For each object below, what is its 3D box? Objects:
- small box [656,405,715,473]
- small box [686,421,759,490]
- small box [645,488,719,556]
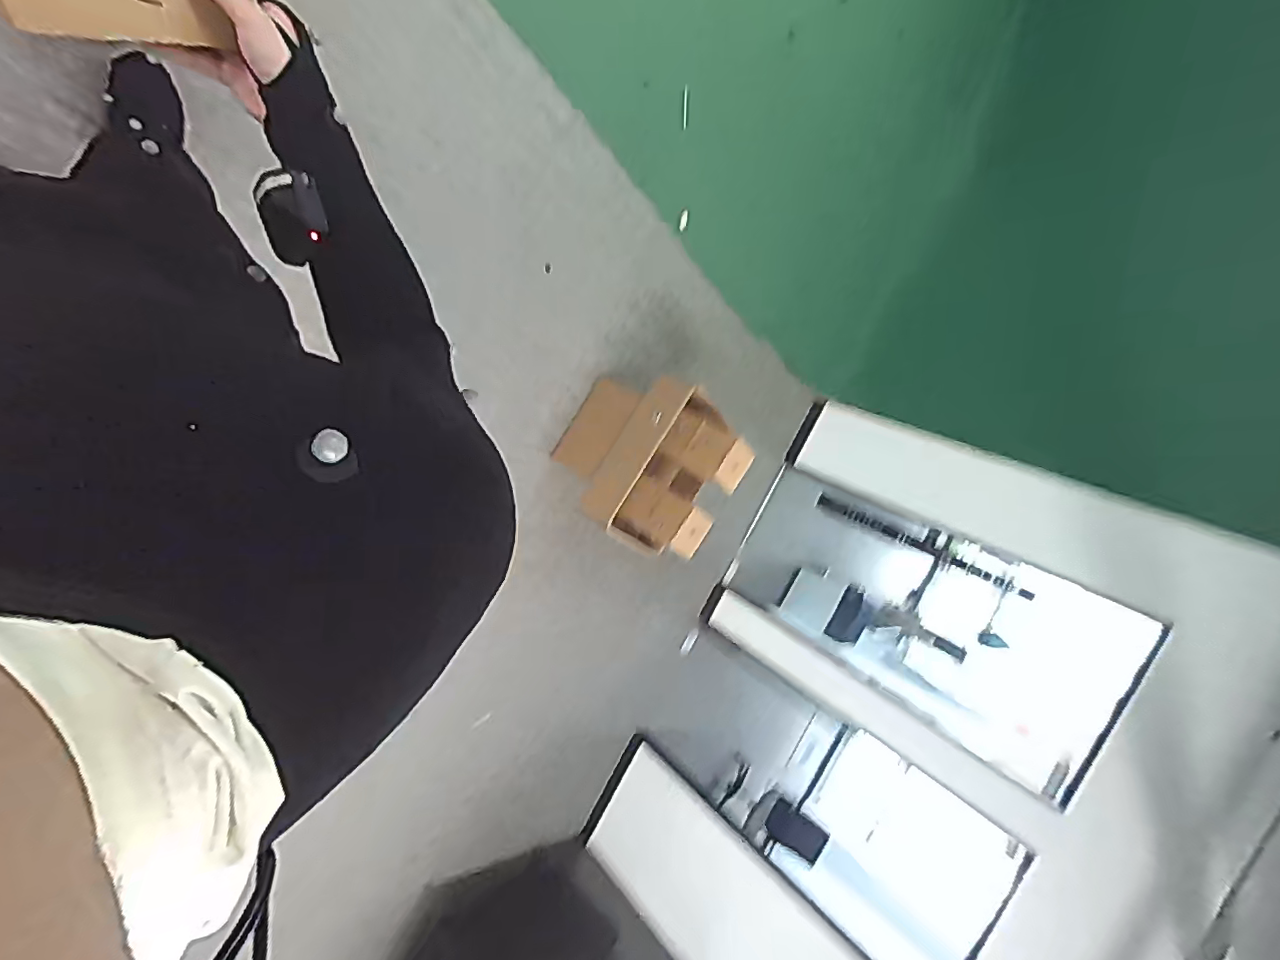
[{"bbox_3d":[0.190,-0.162,2.070,0.179,0.176,0.168,-55,142,-5],"label":"small box"},{"bbox_3d":[0.301,-0.092,1.971,0.168,0.176,0.179,-56,142,-4],"label":"small box"},{"bbox_3d":[0.148,0.147,1.950,0.168,0.176,0.179,-56,143,-3],"label":"small box"}]
